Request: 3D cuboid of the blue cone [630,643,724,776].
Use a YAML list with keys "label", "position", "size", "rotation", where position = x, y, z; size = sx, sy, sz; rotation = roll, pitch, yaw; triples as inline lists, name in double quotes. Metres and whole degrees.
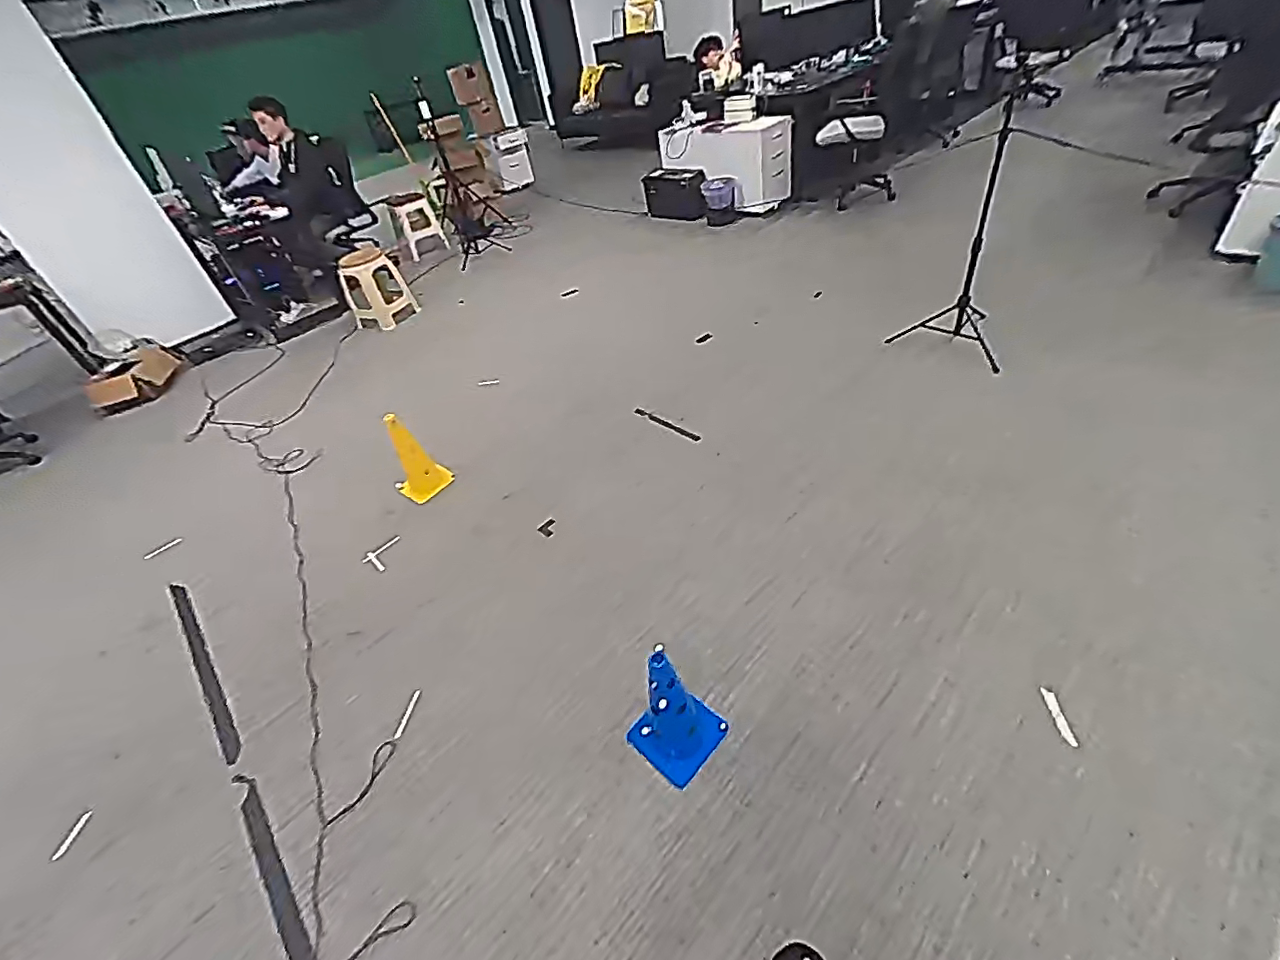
- label: "blue cone"
  position: [0.065, 0.508, 1.268]
  size: [0.192, 0.380, 0.193]
  rotation: [-37, 46, -28]
